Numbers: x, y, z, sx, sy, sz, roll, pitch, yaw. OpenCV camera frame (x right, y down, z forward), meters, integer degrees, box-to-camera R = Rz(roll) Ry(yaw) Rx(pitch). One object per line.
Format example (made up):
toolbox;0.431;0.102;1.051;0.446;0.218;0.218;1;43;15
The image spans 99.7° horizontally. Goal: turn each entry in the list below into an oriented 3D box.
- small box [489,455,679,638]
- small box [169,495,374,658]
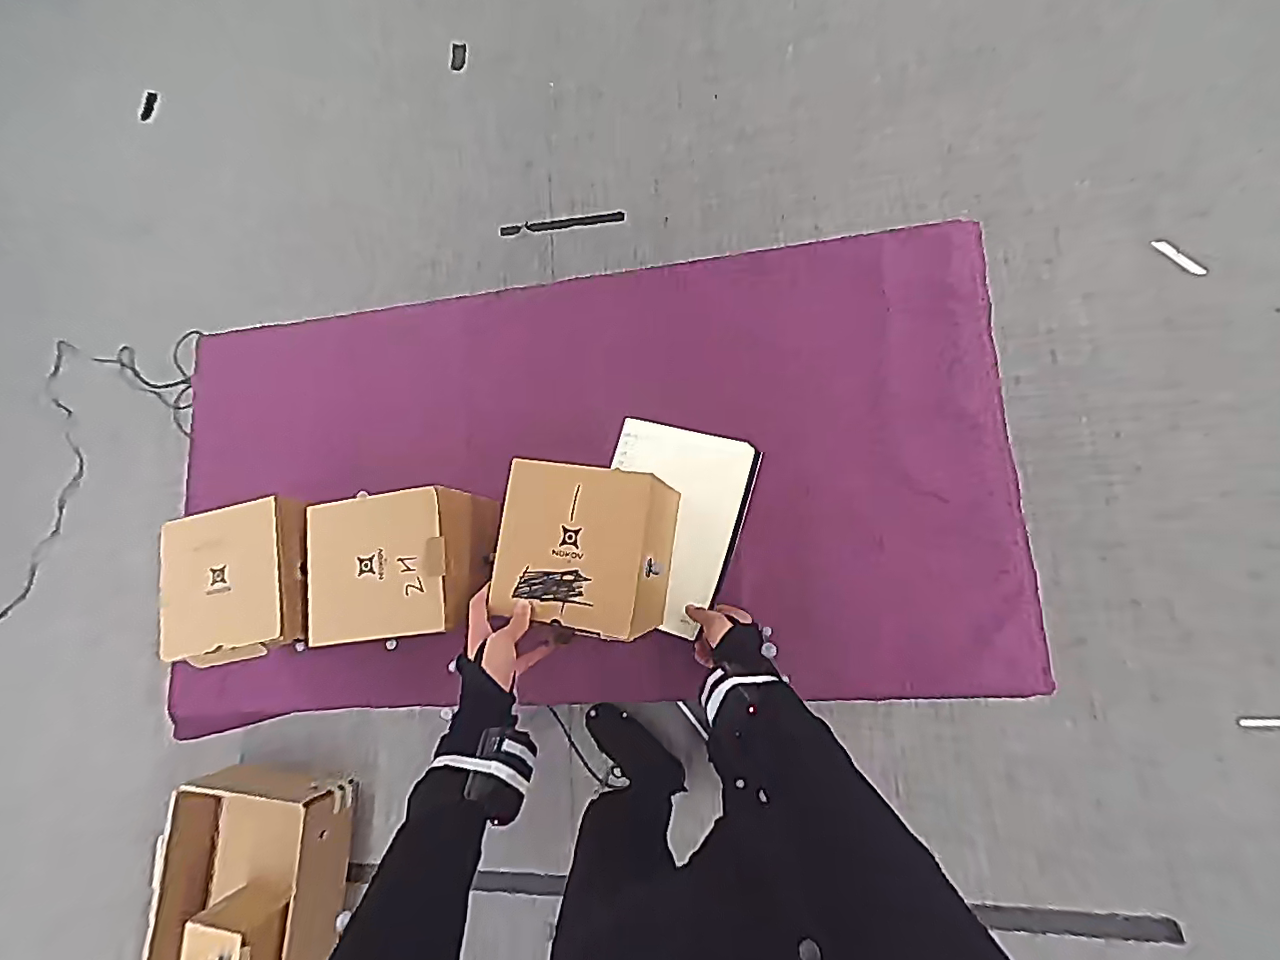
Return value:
small box;-0.054;0.078;0.653;0.168;0.176;0.179;7;83;16
small box;-0.488;0.129;0.736;0.168;0.176;0.179;-12;78;8
